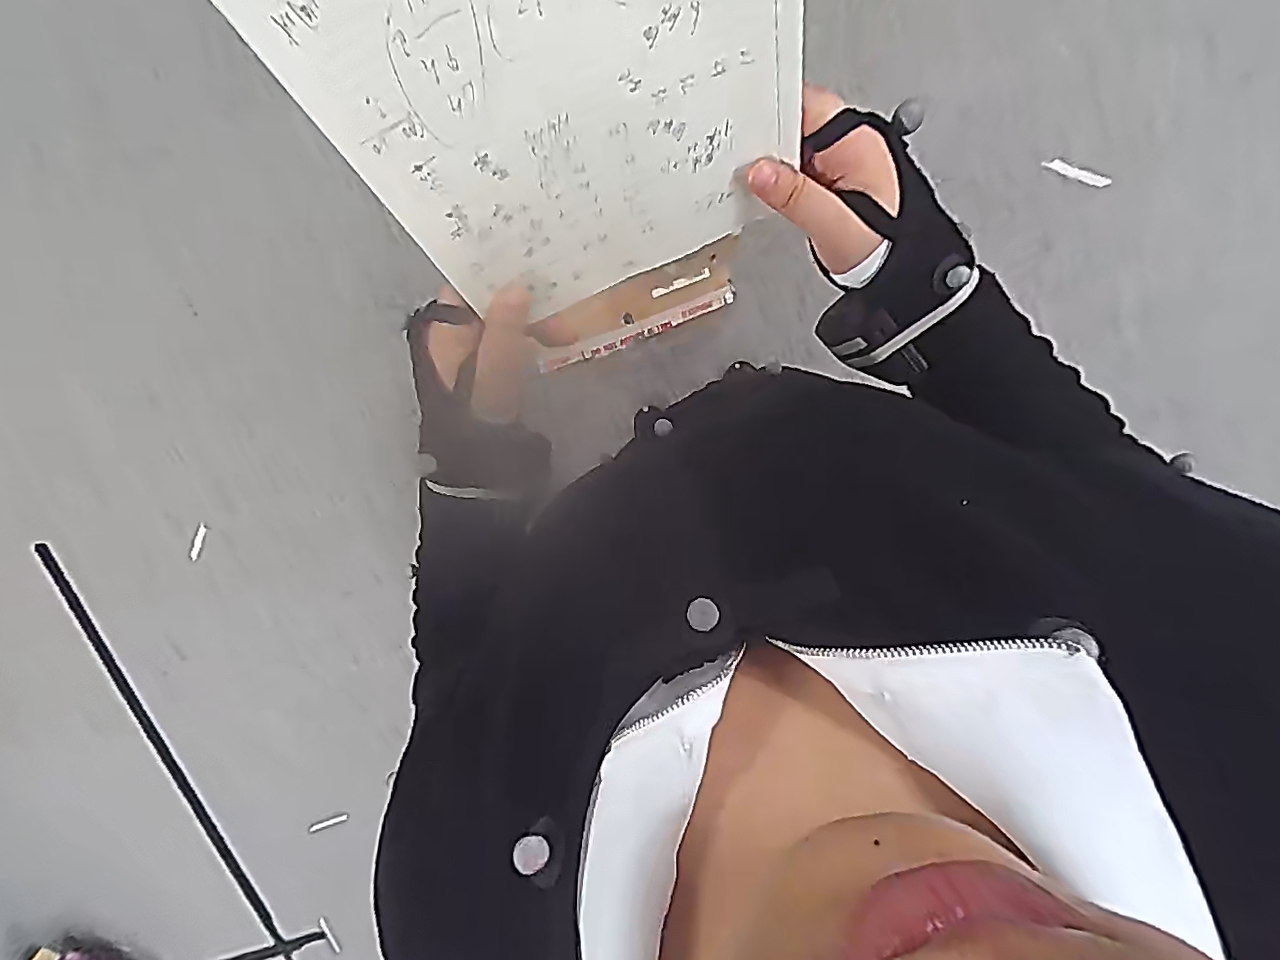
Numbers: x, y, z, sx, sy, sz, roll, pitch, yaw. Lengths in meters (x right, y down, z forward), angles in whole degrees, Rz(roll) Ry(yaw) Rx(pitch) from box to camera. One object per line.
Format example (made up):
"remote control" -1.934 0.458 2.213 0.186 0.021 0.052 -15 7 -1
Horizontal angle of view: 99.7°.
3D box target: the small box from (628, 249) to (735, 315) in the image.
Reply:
"small box" 0.036 -0.383 0.875 0.179 0.176 0.168 -21 98 7

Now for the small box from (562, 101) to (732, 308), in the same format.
"small box" 0.011 -0.345 0.716 0.168 0.176 0.179 -17 100 5
